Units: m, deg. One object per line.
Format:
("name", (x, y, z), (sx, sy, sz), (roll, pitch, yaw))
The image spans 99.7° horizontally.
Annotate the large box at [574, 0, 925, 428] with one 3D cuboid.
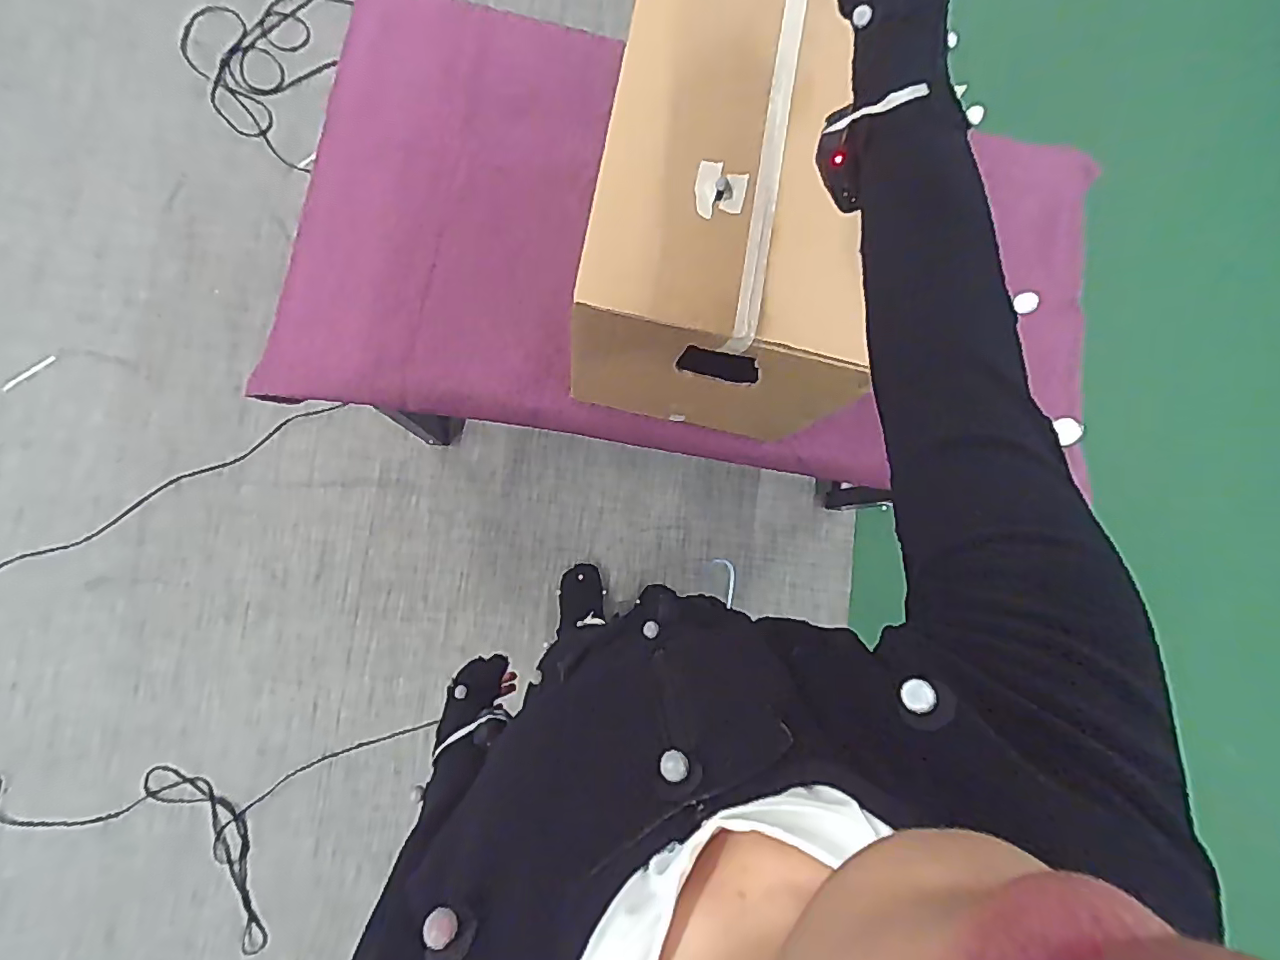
("large box", (0.104, -0.314, 0.681), (0.320, 0.320, 0.408), (11, 83, -6))
